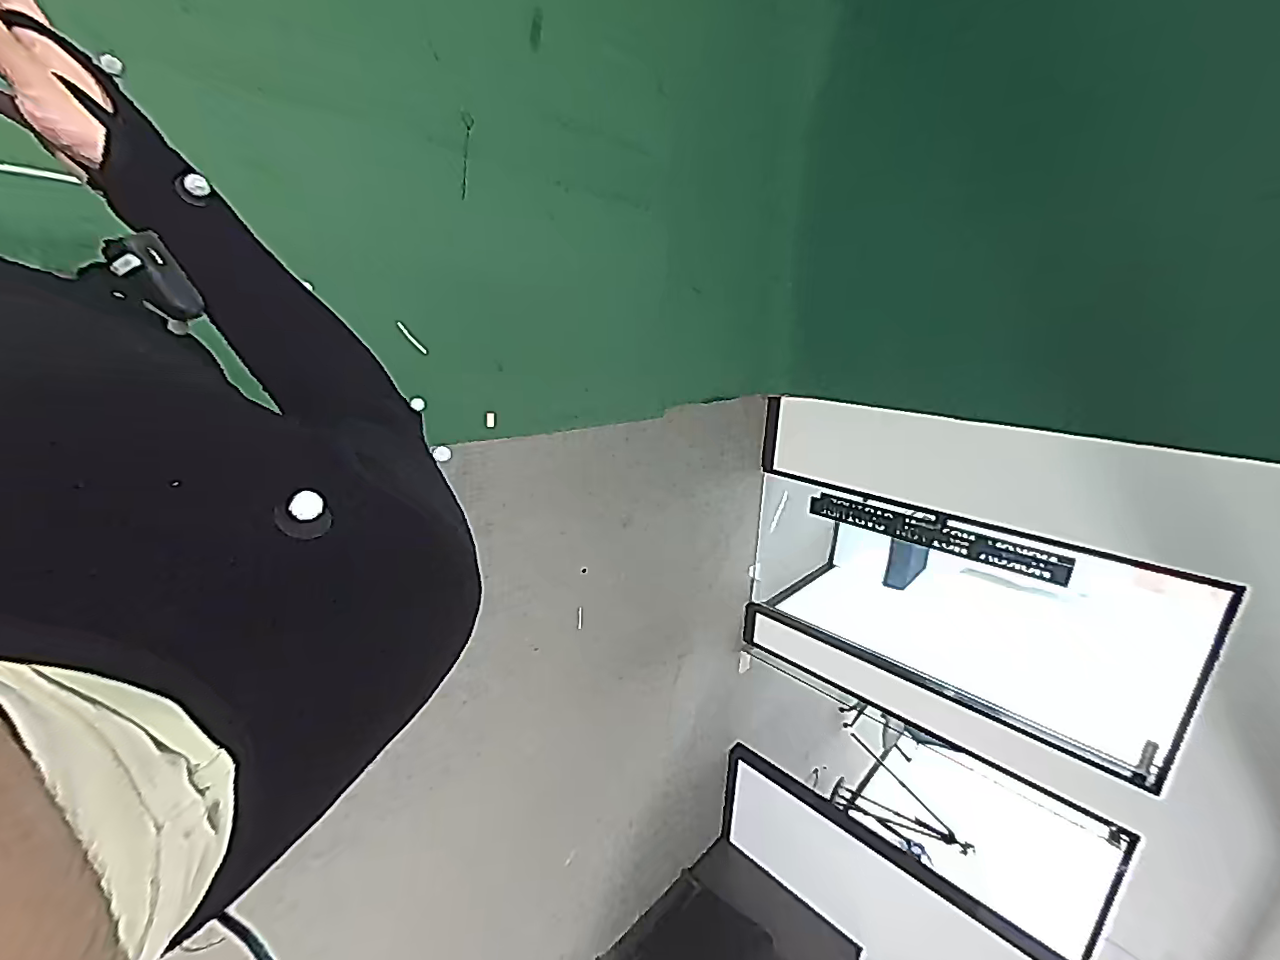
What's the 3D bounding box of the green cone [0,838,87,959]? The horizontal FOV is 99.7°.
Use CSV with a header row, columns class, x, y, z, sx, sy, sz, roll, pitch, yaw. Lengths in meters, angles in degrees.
class,x,y,z,sx,sy,sz,roll,pitch,yaw
green cone,-1.350,1.017,1.169,0.202,0.368,0.200,-13,112,-44
